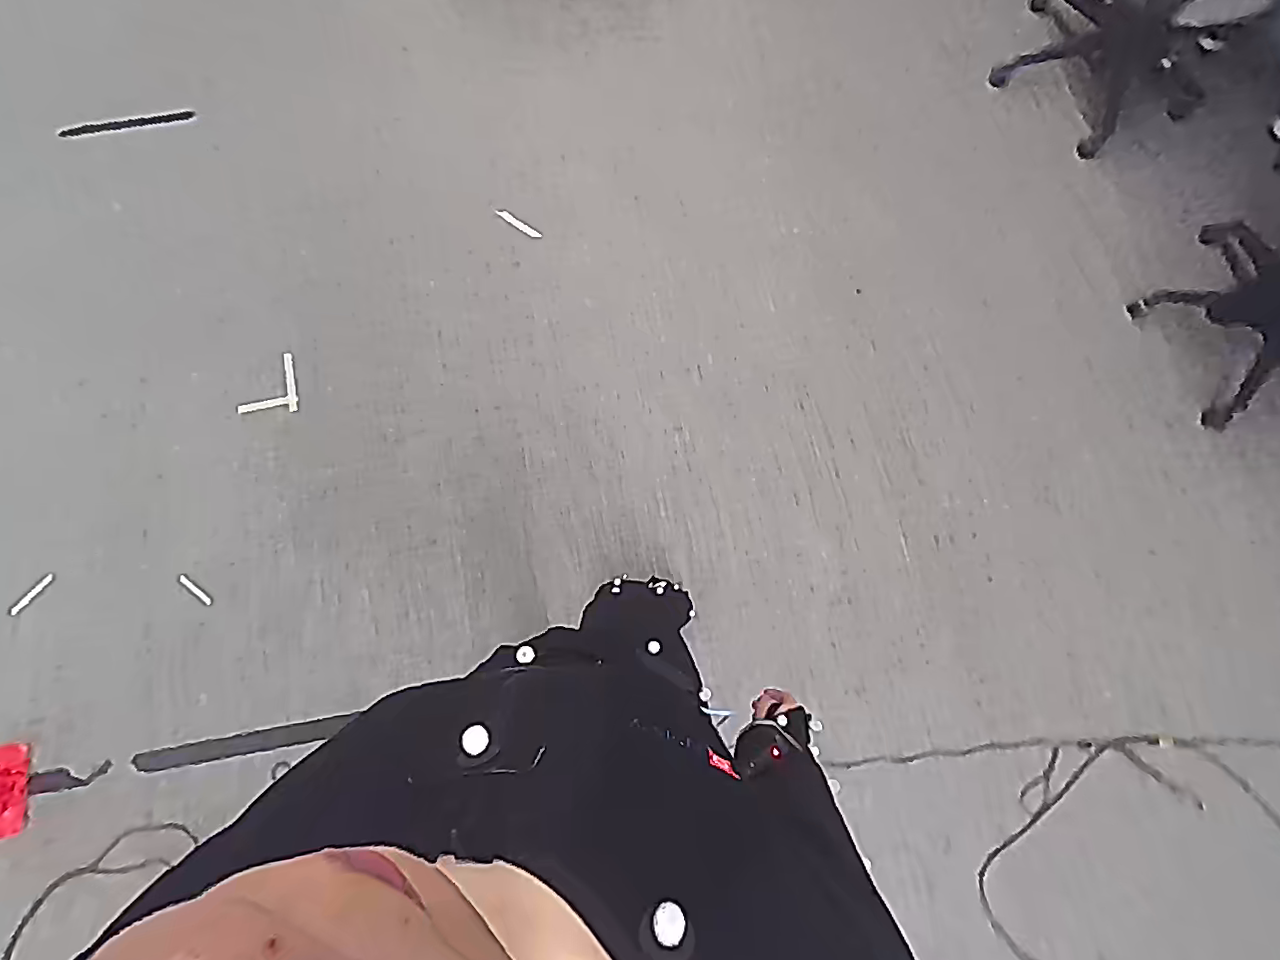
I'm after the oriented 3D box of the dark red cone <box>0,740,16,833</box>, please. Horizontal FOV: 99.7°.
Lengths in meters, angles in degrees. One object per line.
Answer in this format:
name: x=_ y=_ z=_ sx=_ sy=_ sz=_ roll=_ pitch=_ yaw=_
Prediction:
dark red cone: x=-1.506 y=0.673 z=1.052 sx=0.202 sy=0.394 sz=0.201 roll=-10 pitch=80 yaw=-5
